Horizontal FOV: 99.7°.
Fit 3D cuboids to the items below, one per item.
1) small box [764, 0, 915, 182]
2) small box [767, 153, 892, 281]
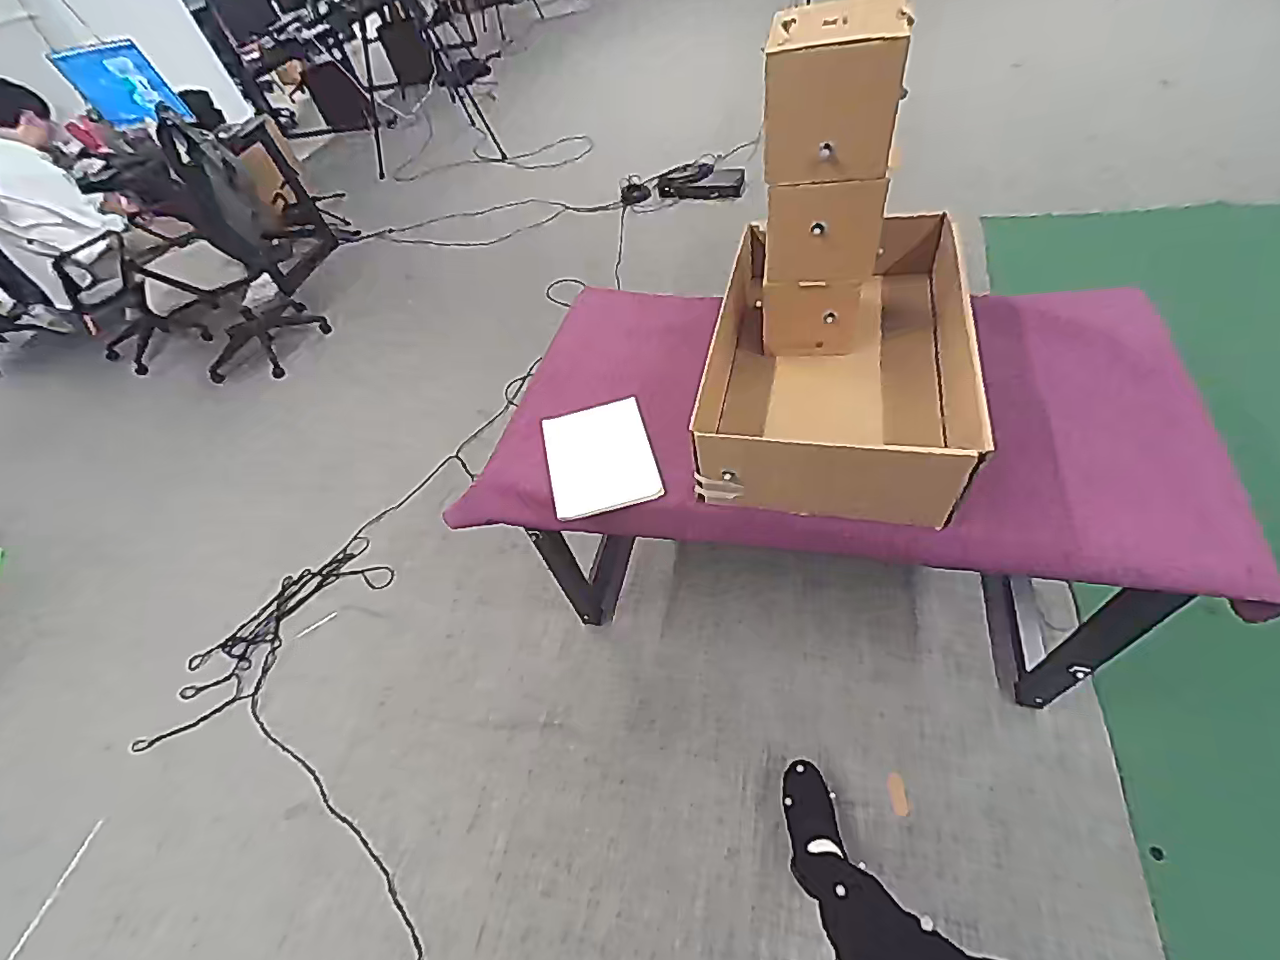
[{"bbox_3d":[0.279,-0.554,0.780,0.179,0.176,0.168,6,54,15],"label":"small box"},{"bbox_3d":[0.308,-0.452,0.906,0.179,0.176,0.168,3,54,15],"label":"small box"}]
